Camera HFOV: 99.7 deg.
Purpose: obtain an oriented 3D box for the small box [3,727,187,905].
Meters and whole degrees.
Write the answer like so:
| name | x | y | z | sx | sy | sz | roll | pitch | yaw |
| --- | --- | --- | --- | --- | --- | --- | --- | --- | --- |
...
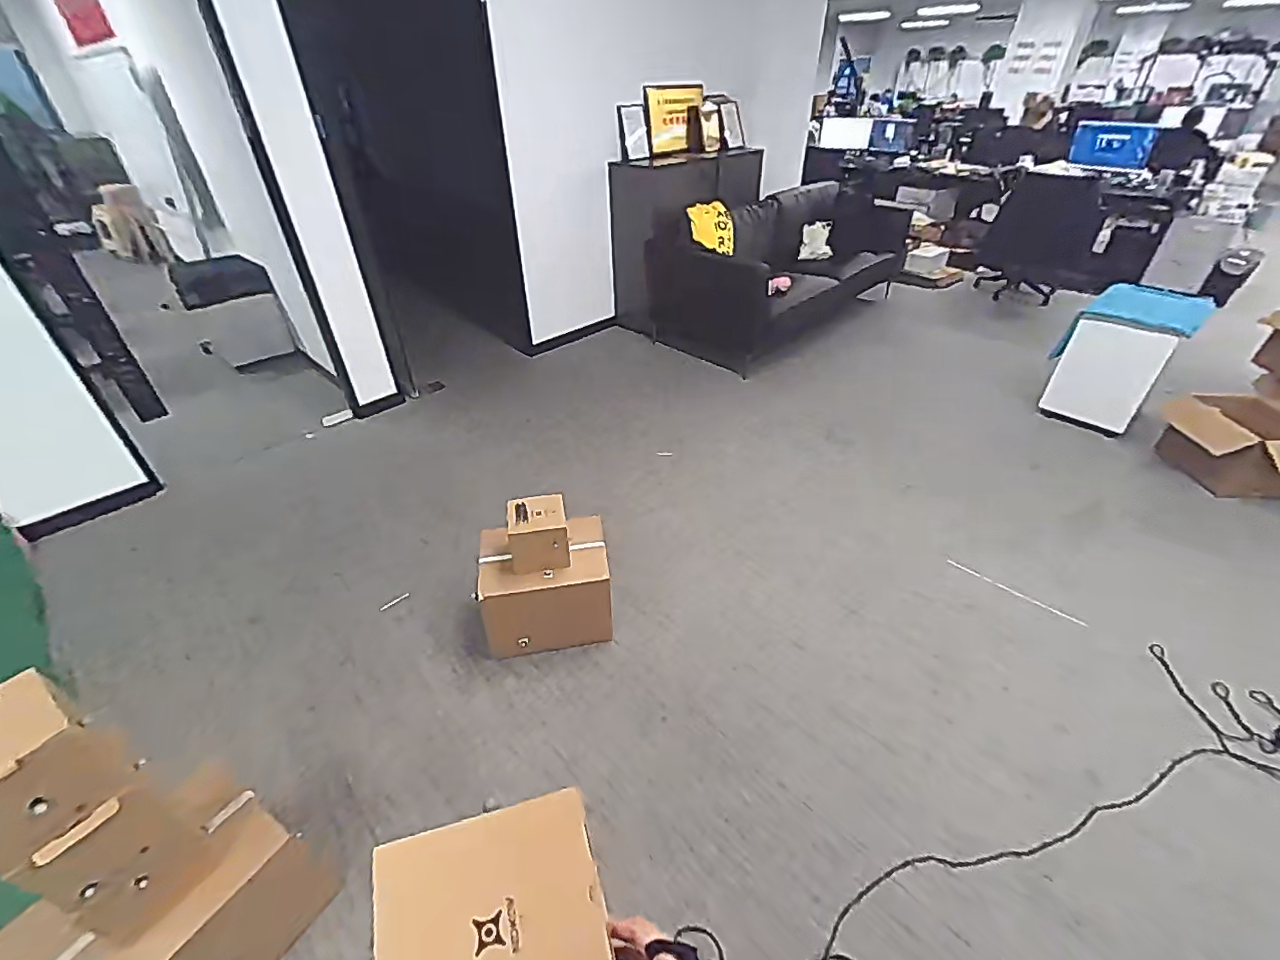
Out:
| name | x | y | z | sx | sy | sz | roll | pitch | yaw |
| --- | --- | --- | --- | --- | --- | --- | --- | --- | --- |
| small box | -0.921 | 0.568 | 0.912 | 0.179 | 0.176 | 0.168 | 24 | 43 | 29 |

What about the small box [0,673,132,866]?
| name | x | y | z | sx | sy | sz | roll | pitch | yaw |
| --- | --- | --- | --- | --- | --- | --- | --- | --- | --- |
| small box | -0.927 | 0.437 | 0.813 | 0.179 | 0.176 | 0.168 | 24 | 43 | 27 |

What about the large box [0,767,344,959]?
| name | x | y | z | sx | sy | sz | roll | pitch | yaw |
| --- | --- | --- | --- | --- | --- | --- | --- | --- | --- |
| large box | -0.930 | 0.918 | 1.126 | 0.320 | 0.320 | 0.408 | 18 | 42 | 26 |

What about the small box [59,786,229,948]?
| name | x | y | z | sx | sy | sz | roll | pitch | yaw |
| --- | --- | --- | --- | --- | --- | --- | --- | --- | --- |
| small box | -0.921 | 0.706 | 1.000 | 0.168 | 0.176 | 0.179 | 23 | 42 | 27 |

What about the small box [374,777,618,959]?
| name | x | y | z | sx | sy | sz | roll | pitch | yaw |
| --- | --- | --- | --- | --- | --- | --- | --- | --- | --- |
| small box | -0.129 | 0.397 | 0.486 | 0.179 | 0.176 | 0.168 | -6 | 52 | -20 |
